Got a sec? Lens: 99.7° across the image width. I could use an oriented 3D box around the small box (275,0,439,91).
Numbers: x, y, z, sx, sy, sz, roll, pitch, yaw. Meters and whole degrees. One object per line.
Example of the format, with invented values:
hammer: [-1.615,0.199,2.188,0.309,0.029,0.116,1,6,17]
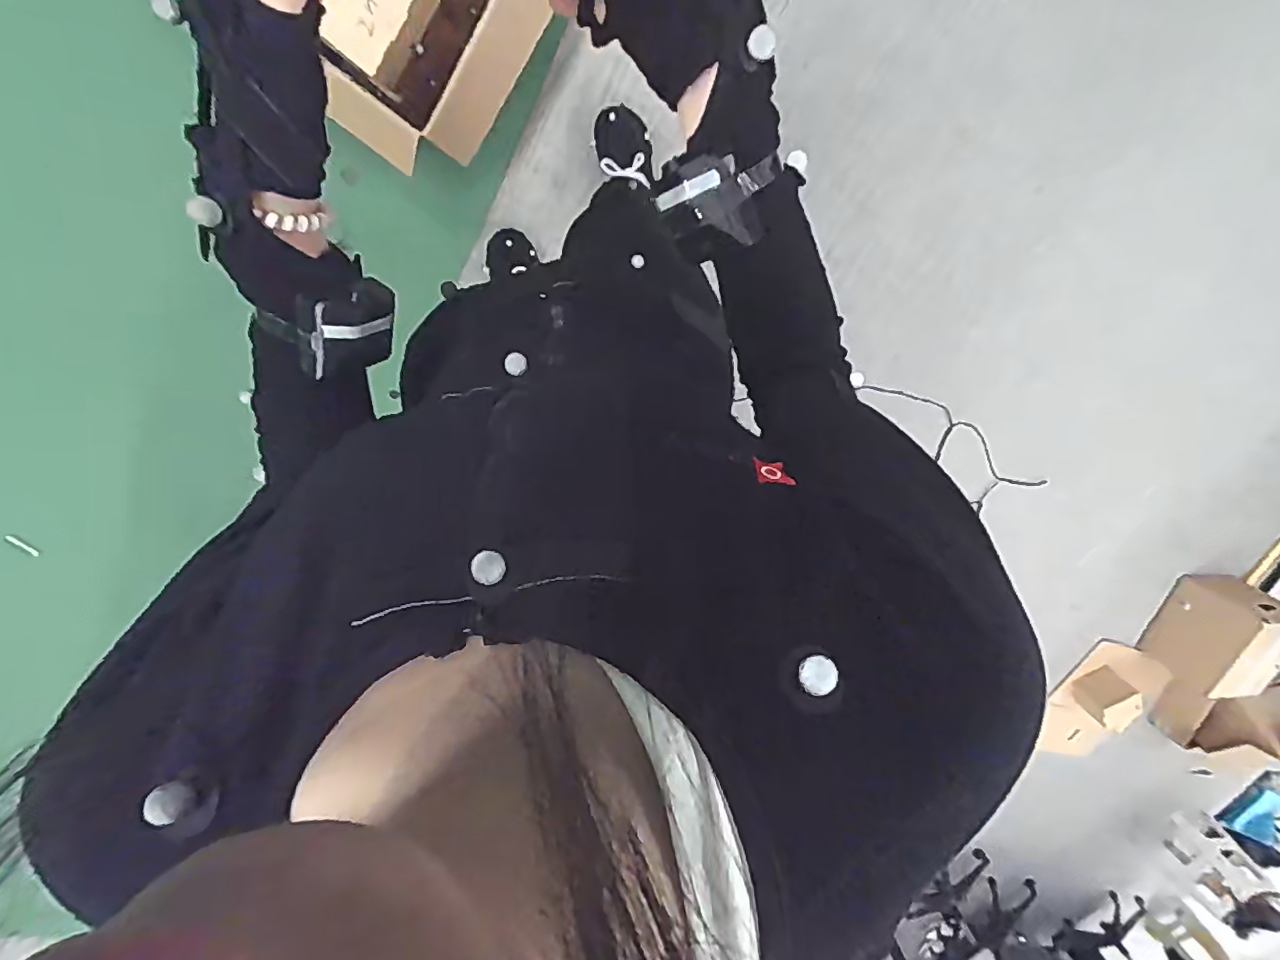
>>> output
small box: [-0.438,-0.745,0.836,0.179,0.176,0.168,33,107,-25]
